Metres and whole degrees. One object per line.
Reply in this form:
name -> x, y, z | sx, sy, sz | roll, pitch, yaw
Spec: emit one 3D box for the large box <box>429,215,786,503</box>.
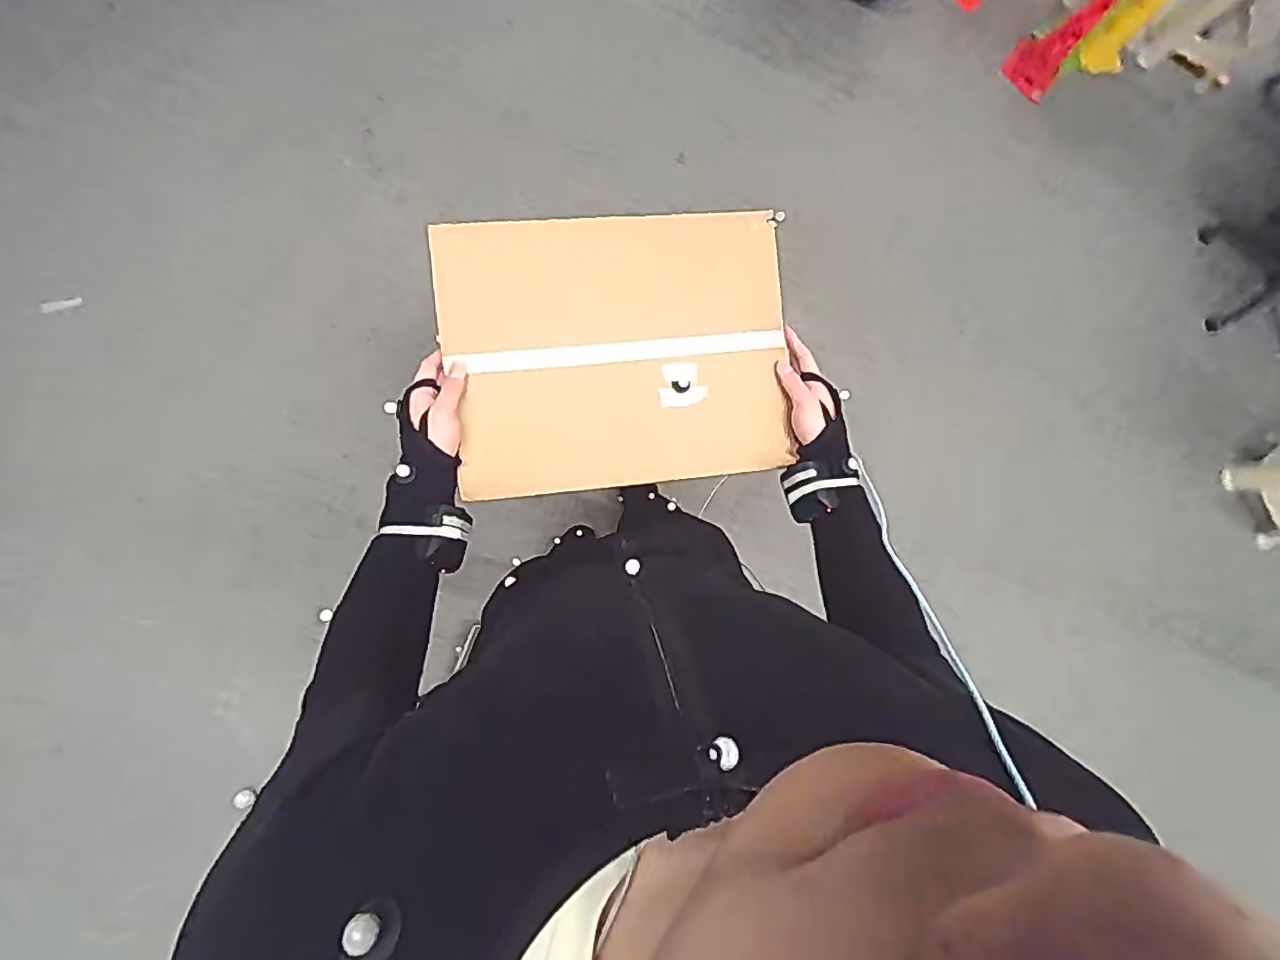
large box -> -0.051, -0.154, 0.795 | 0.408, 0.320, 0.320 | -7, 93, -8
